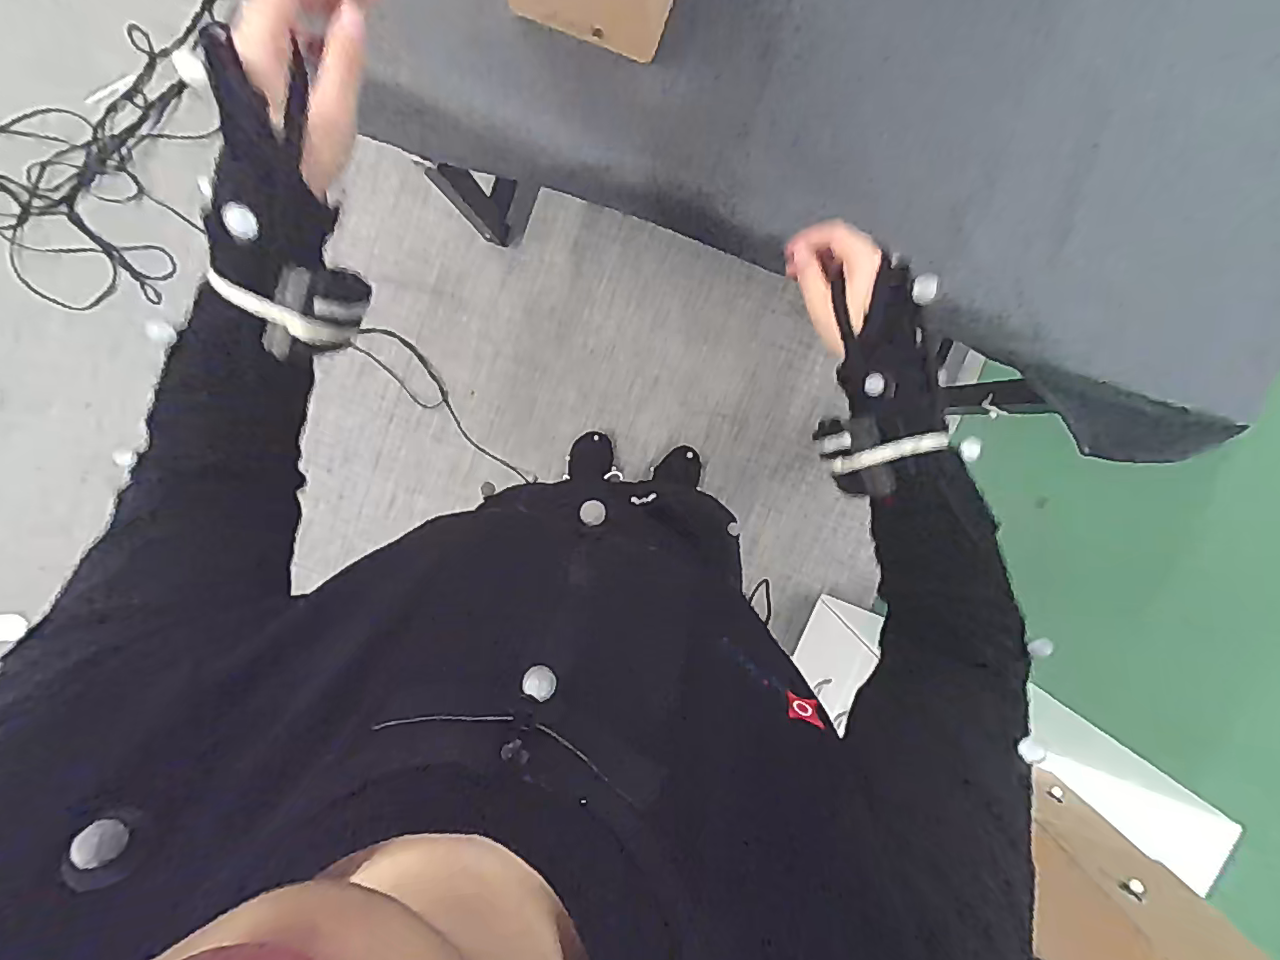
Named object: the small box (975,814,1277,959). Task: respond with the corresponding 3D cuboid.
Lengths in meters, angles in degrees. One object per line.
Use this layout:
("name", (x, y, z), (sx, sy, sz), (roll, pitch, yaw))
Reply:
("small box", (0.518, 0.510, 0.593), (0.179, 0.176, 0.168), (19, 98, -4))

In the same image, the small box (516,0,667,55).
("small box", (-0.038, -0.558, 0.498), (0.168, 0.176, 0.179), (20, 96, -2))
